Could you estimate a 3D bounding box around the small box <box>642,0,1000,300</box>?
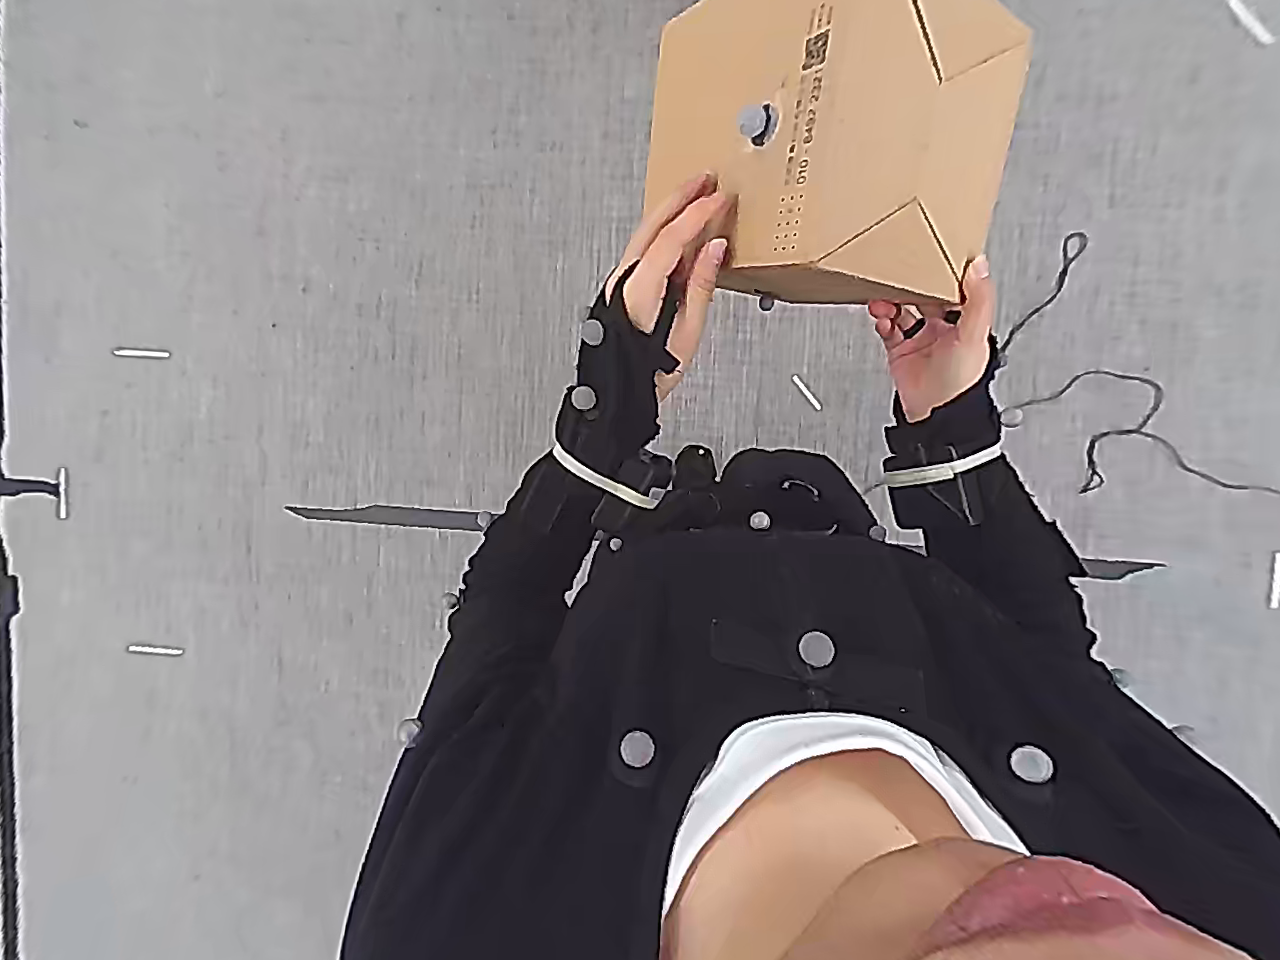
[{"bbox_3d":[0.126,-0.225,0.387,0.179,0.176,0.168,-4,108,-36],"label":"small box"}]
